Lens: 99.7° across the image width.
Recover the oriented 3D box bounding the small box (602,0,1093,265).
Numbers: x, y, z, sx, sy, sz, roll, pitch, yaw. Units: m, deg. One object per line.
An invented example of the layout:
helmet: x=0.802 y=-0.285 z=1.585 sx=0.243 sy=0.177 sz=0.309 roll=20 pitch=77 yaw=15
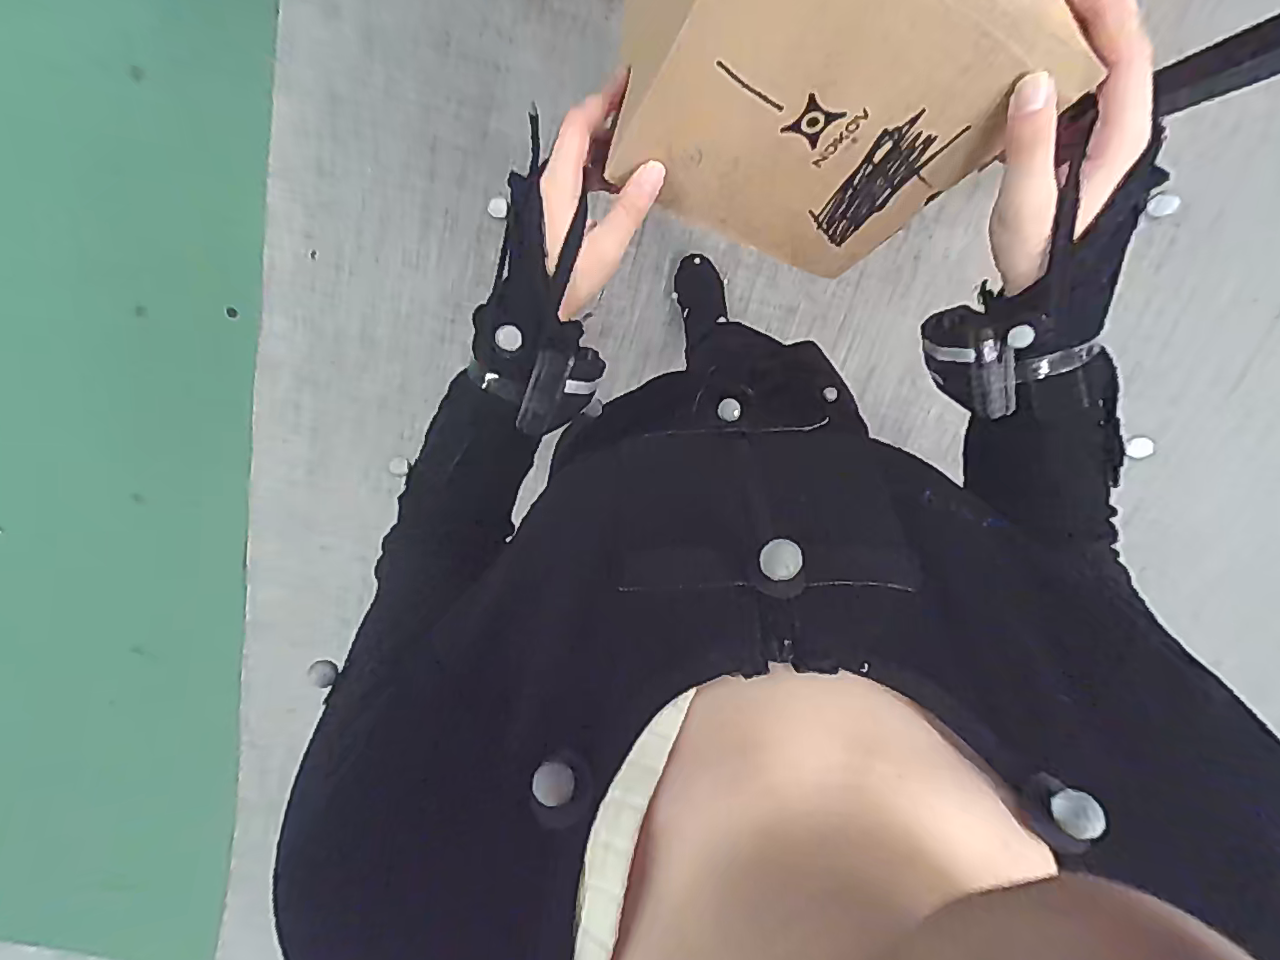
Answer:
small box: x=0.097 y=-0.260 z=0.295 sx=0.179 sy=0.168 sz=0.176 roll=13 pitch=71 yaw=-23
